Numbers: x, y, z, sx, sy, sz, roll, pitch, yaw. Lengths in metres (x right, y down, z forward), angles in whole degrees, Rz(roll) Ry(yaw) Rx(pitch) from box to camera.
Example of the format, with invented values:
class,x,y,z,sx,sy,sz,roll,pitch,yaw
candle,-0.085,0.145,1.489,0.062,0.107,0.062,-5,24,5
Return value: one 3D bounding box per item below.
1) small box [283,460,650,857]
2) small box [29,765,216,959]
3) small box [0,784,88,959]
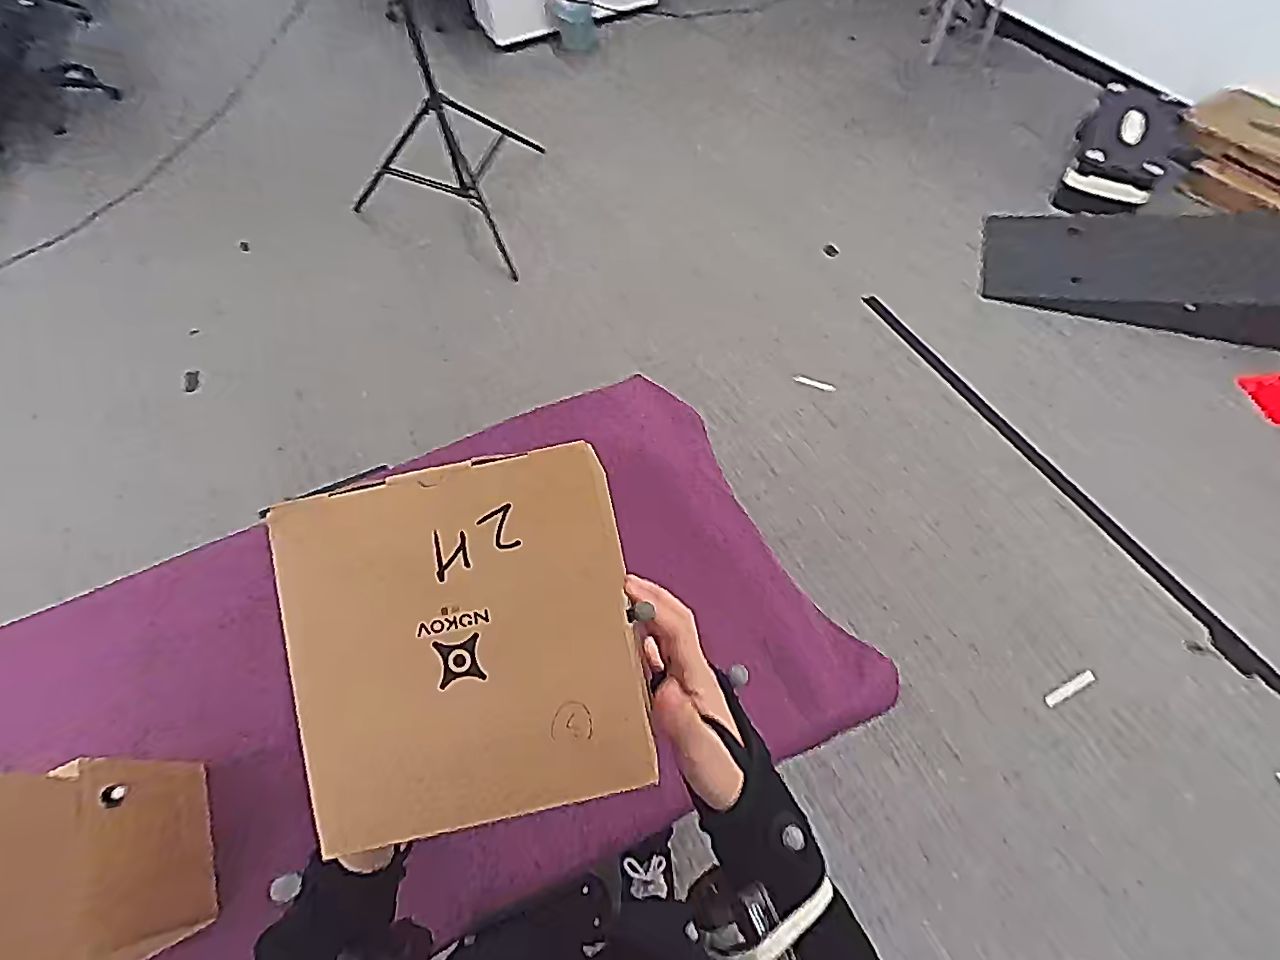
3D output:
class,x,y,z,sx,sy,sz,roll,pitch,yaw
small box,-0.089,0.093,0.353,0.168,0.176,0.179,-11,85,-2
small box,-0.573,0.414,0.547,0.168,0.176,0.179,-26,62,-11
small box,-0.566,0.349,0.395,0.168,0.176,0.179,-30,64,-14
